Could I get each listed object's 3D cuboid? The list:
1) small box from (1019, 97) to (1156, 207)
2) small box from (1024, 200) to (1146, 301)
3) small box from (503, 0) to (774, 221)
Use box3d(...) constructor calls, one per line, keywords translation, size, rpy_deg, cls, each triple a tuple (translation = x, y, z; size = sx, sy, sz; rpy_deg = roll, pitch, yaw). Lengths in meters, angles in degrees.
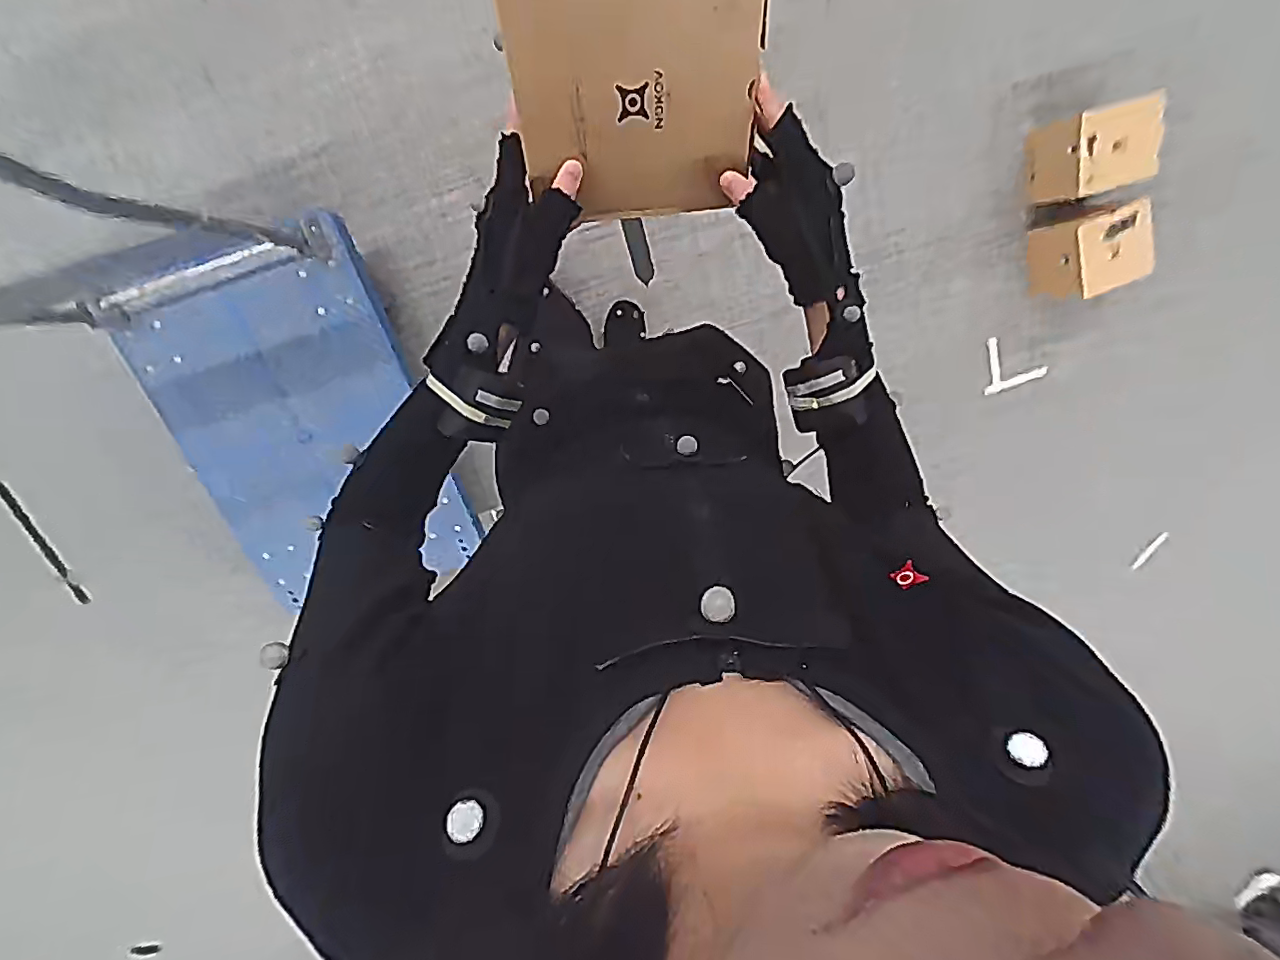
box3d(translation=(1.025, -0.749, 1.252), size=(0.179, 0.176, 0.168), rpy_deg=(-14, 109, 2), cls="small box")
box3d(translation=(1.081, -0.555, 1.325), size=(0.168, 0.176, 0.179), rpy_deg=(-22, 110, 5), cls="small box")
box3d(translation=(-0.006, -0.334, 0.431), size=(0.179, 0.176, 0.168), rpy_deg=(-6, 141, -2), cls="small box")
